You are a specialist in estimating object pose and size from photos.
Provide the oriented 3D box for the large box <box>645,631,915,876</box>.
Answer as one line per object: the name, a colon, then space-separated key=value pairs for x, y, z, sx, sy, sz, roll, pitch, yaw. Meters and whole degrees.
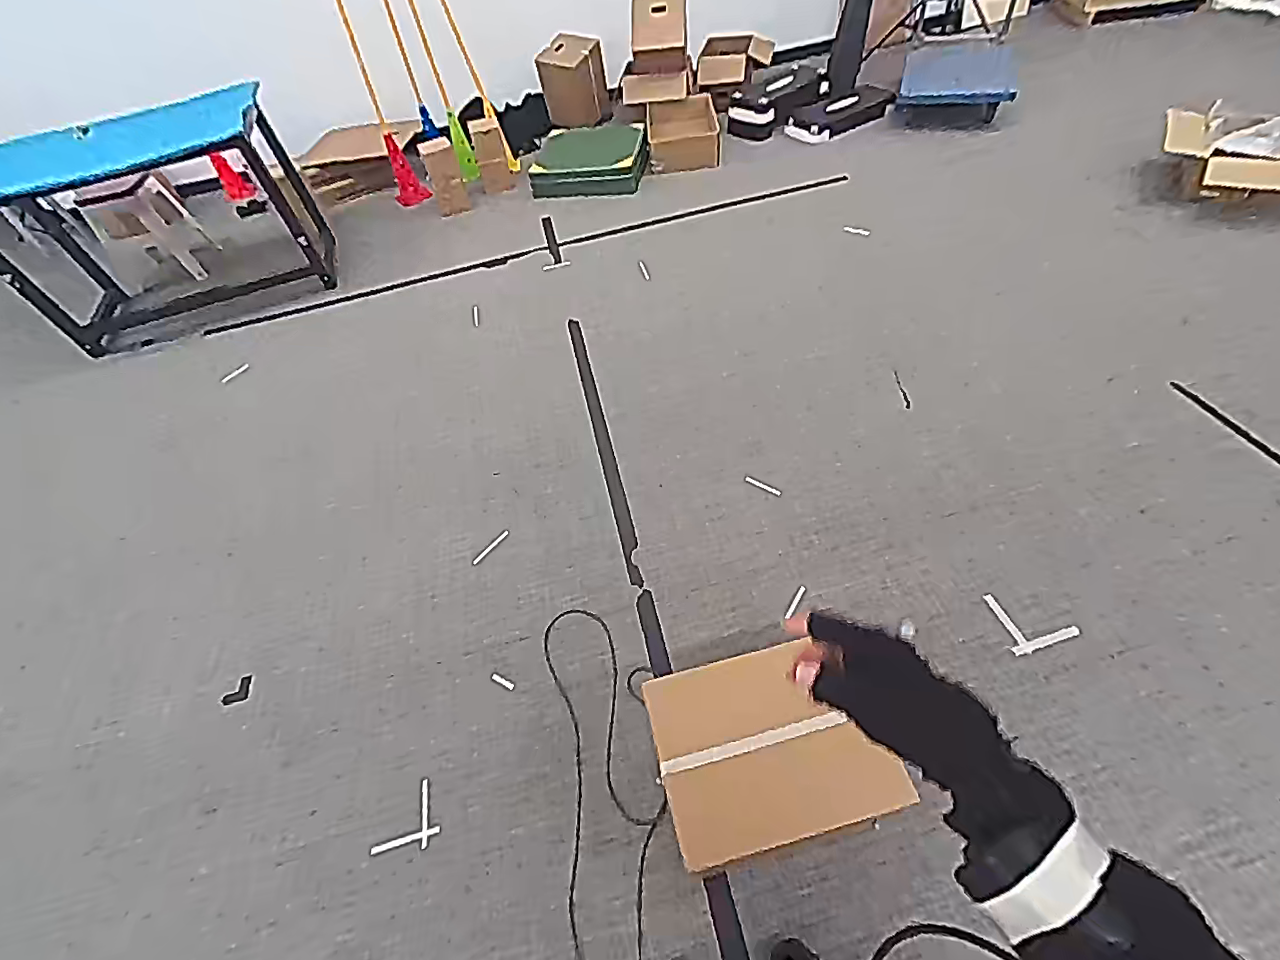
large box: x=0.250 y=0.556 z=1.092 sx=0.408 sy=0.320 sz=0.320 roll=-14 pitch=51 yaw=-4
